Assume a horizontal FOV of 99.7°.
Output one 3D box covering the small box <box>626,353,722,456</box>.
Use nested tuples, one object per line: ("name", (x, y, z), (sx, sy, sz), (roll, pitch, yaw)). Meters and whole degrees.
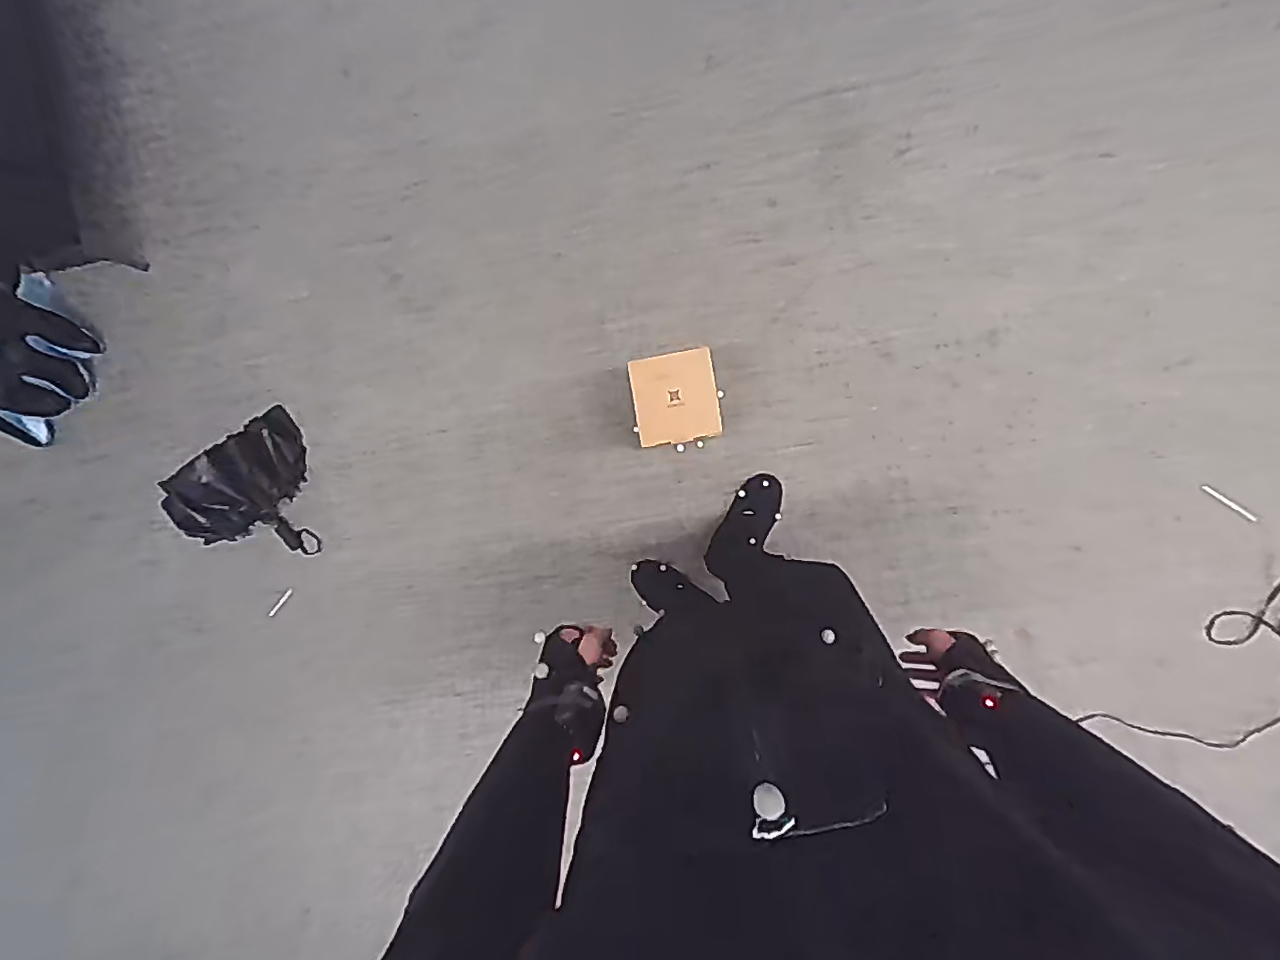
("small box", (0.074, -0.150, 1.132), (0.168, 0.176, 0.179), (-11, 90, 5))
